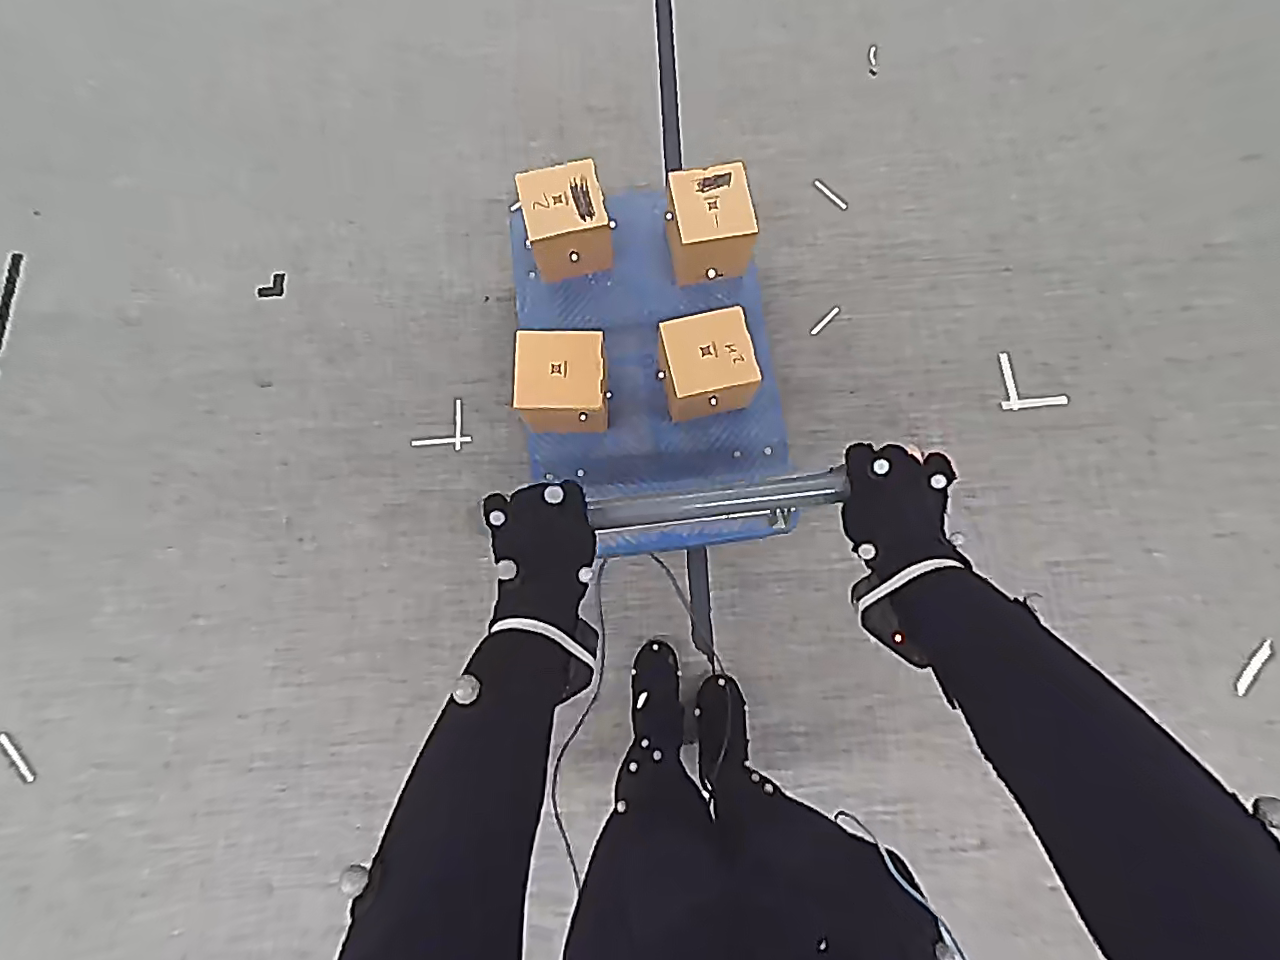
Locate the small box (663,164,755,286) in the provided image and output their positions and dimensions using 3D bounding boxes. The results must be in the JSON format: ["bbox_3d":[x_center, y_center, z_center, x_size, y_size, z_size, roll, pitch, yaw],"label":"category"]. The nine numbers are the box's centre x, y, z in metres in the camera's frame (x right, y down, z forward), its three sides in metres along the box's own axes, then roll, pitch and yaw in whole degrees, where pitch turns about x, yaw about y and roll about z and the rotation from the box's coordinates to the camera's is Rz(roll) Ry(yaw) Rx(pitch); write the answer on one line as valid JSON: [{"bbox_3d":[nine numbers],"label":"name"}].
[{"bbox_3d":[0.147,-0.570,1.221,0.168,0.176,0.179,-10,79,-2],"label":"small box"}]

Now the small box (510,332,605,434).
[{"bbox_3d":[-0.168,-0.199,1.147,0.179,0.176,0.168,-1,78,-1],"label":"small box"}]

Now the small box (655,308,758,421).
[{"bbox_3d":[0.134,-0.237,1.153,0.179,0.176,0.168,-12,79,-2],"label":"small box"}]
